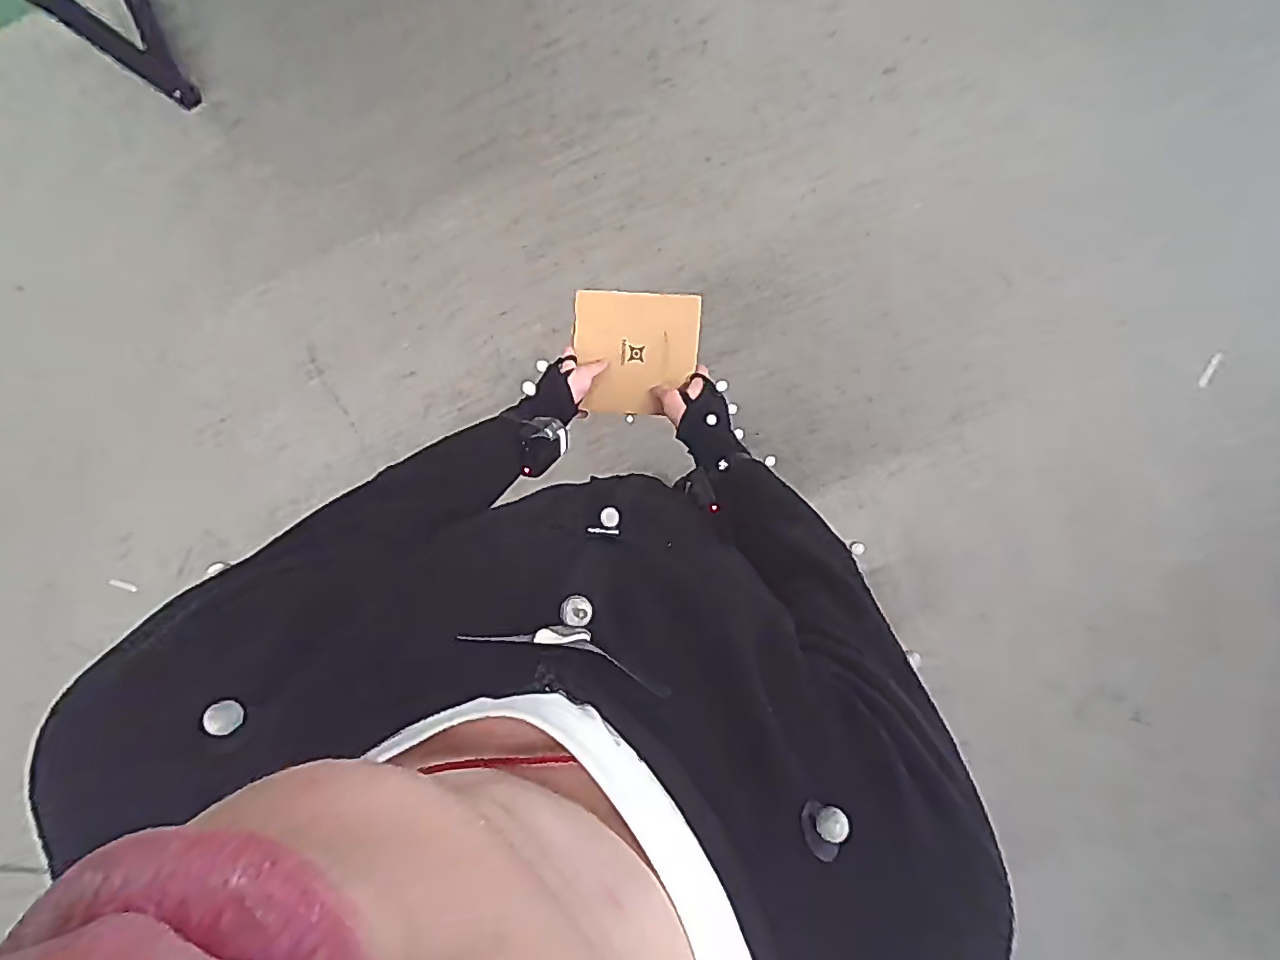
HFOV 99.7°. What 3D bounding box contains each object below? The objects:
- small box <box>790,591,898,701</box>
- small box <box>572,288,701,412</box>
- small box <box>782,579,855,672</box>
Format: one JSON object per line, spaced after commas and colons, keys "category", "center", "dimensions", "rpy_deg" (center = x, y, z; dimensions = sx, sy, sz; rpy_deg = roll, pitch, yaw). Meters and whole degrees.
{"category": "small box", "center": [0.480, 0.390, 1.296], "dimensions": [0.168, 0.176, 0.179], "rpy_deg": [-22, 91, 5]}
{"category": "small box", "center": [0.000, -0.191, 0.828], "dimensions": [0.179, 0.176, 0.168], "rpy_deg": [3, 99, 4]}
{"category": "small box", "center": [0.495, 0.386, 1.461], "dimensions": [0.179, 0.176, 0.168], "rpy_deg": [-21, 92, 5]}
